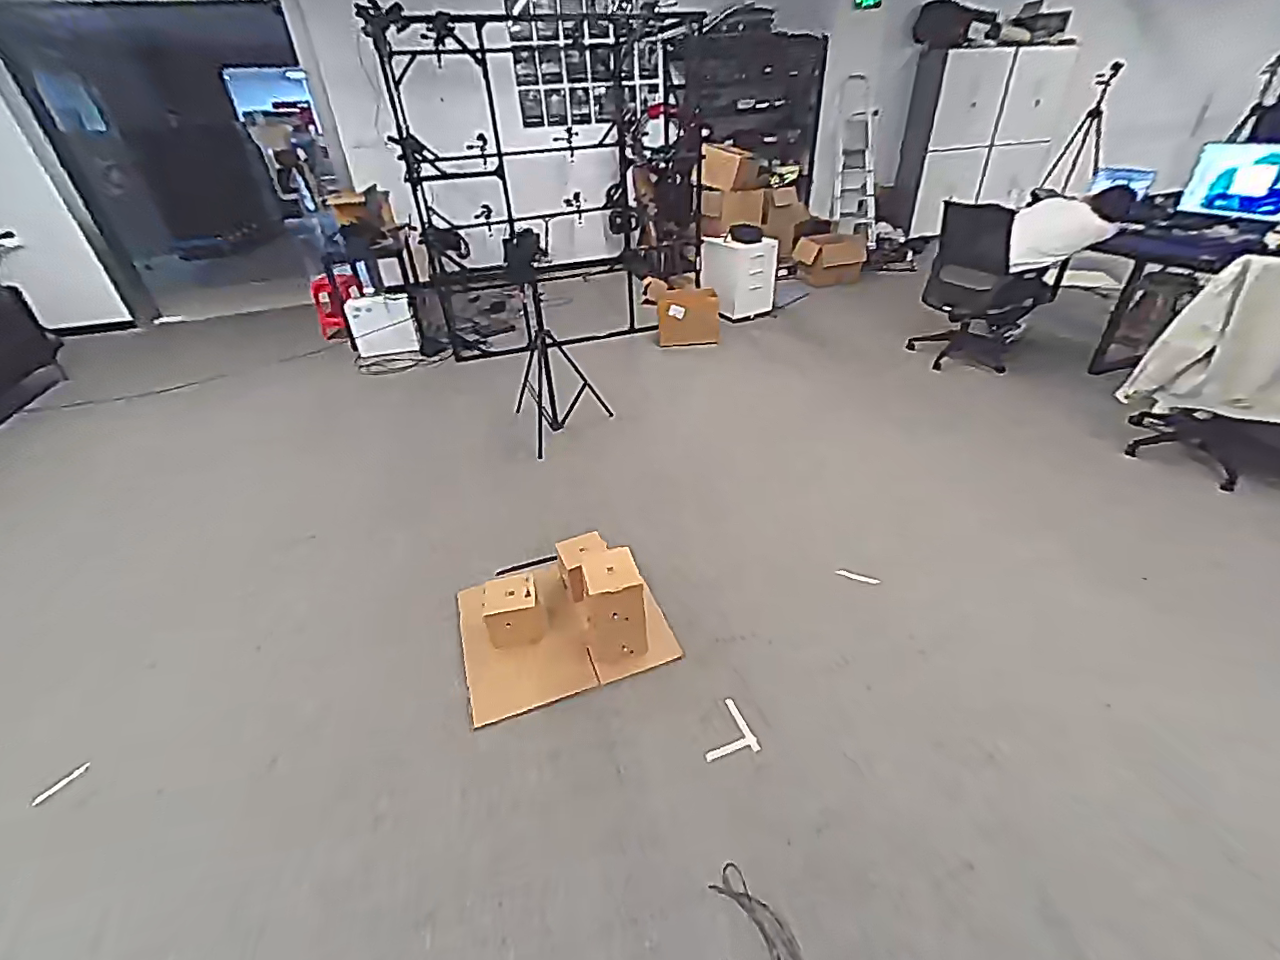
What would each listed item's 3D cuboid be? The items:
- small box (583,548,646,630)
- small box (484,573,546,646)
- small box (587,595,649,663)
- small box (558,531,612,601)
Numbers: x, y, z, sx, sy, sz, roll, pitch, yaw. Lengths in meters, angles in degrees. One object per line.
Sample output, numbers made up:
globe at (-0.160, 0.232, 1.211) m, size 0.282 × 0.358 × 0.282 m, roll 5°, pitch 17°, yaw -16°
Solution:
small box at (-0.083, 0.349, 1.739) m, size 0.168 × 0.176 × 0.179 m, roll -12°, pitch 37°, yaw -11°
small box at (-0.436, 0.458, 1.898) m, size 0.179 × 0.176 × 0.168 m, roll -10°, pitch 35°, yaw -6°
small box at (-0.076, 0.483, 1.832) m, size 0.168 × 0.176 × 0.179 m, roll -14°, pitch 37°, yaw -14°
small box at (-0.202, 0.329, 2.068) m, size 0.179 × 0.176 × 0.168 m, roll -17°, pitch 35°, yaw -18°
